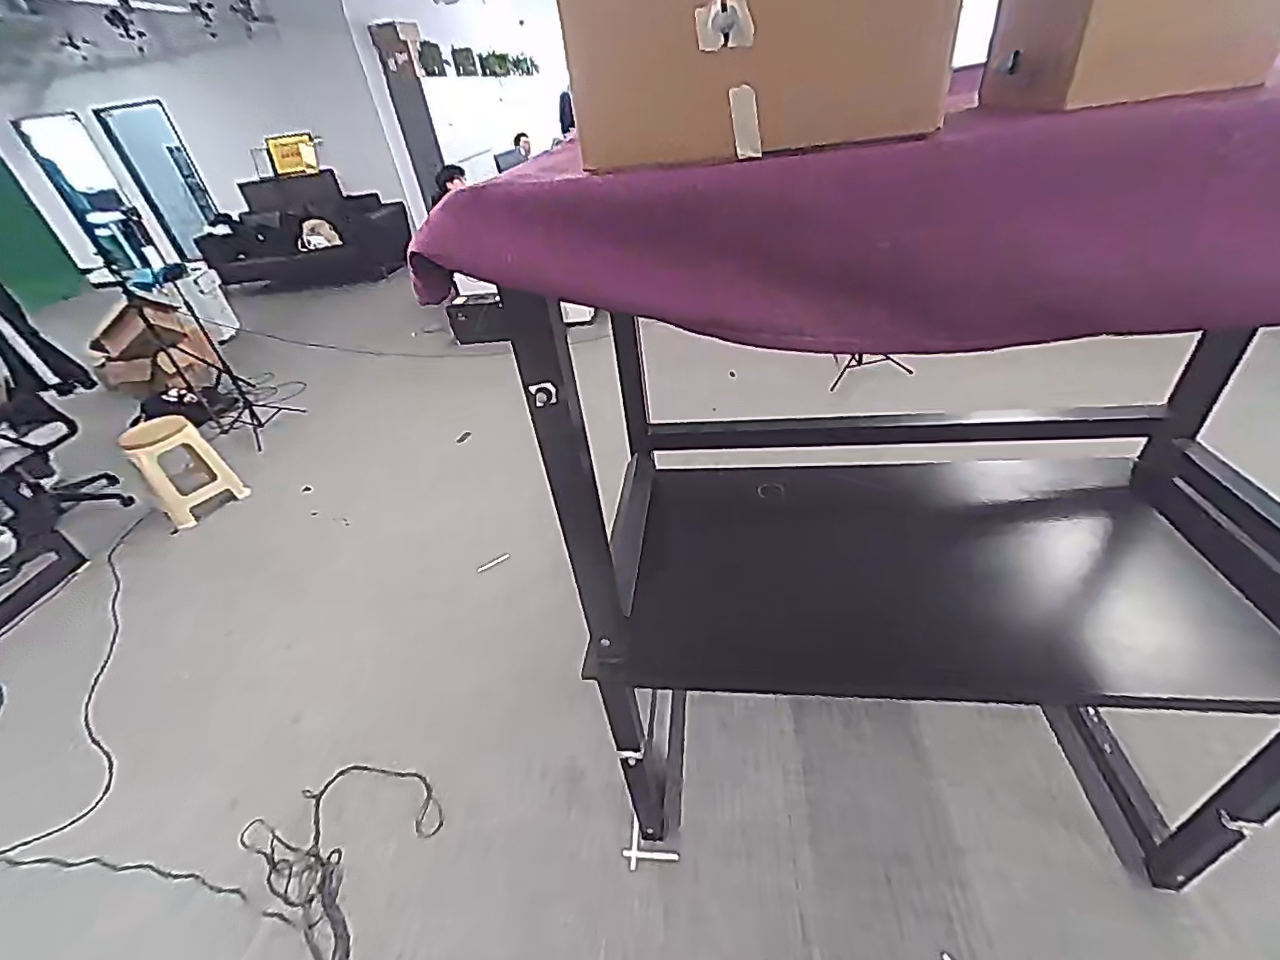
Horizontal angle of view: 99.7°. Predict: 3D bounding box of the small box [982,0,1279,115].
[{"bbox_3d":[0.463,-0.456,0.504,0.179,0.176,0.168,-5,35,5],"label":"small box"}]
